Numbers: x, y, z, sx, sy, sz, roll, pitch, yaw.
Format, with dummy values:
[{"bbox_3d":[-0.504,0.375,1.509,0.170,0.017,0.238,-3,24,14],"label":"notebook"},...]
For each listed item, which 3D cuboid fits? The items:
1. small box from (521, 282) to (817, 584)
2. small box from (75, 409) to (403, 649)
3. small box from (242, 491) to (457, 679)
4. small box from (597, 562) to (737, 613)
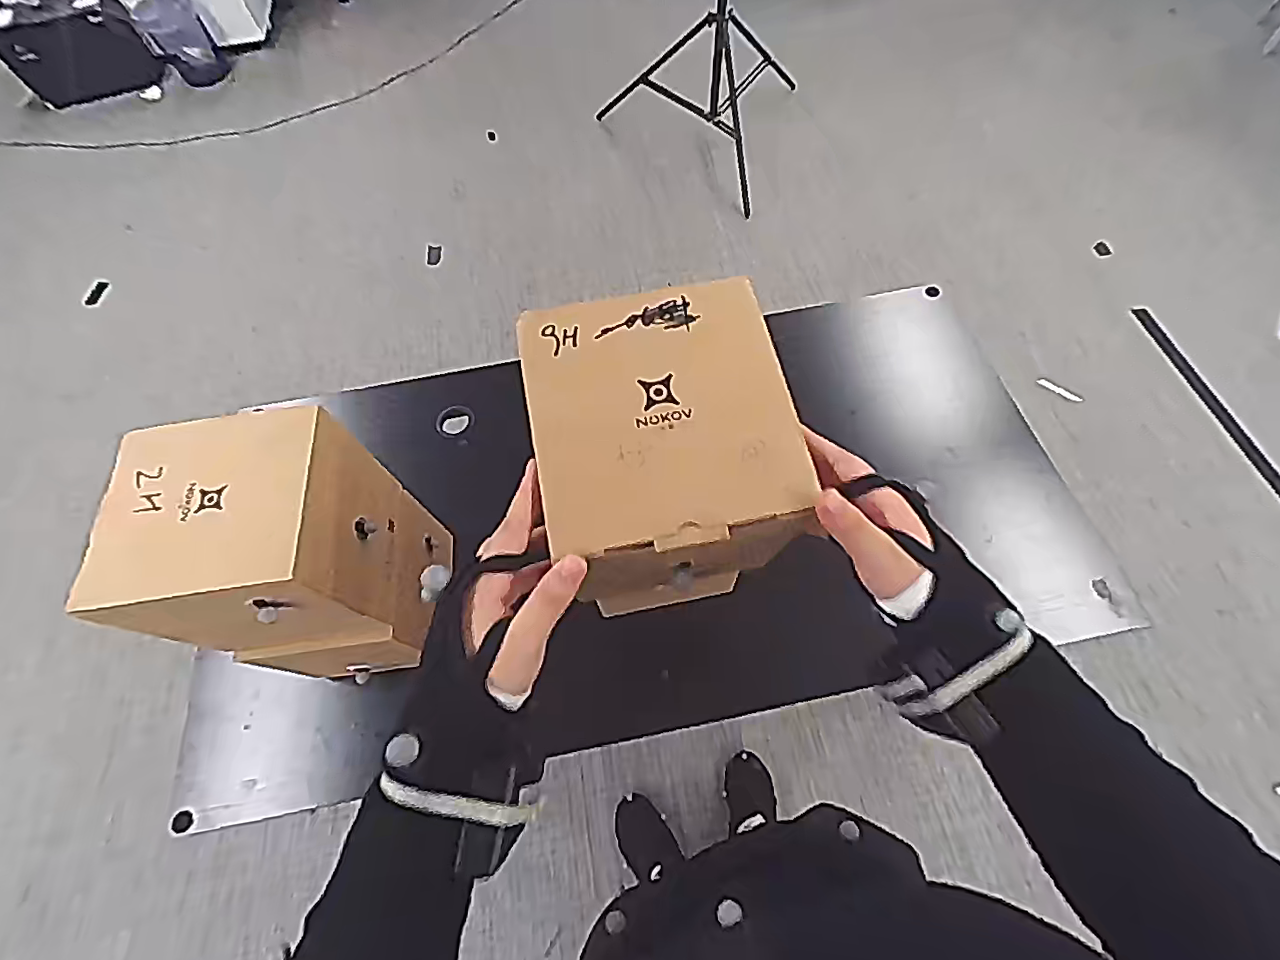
[{"bbox_3d":[0.015,-0.020,0.424,0.168,0.176,0.179,-11,73,-3],"label":"small box"},{"bbox_3d":[-0.347,0.056,0.515,0.179,0.176,0.168,-9,63,0],"label":"small box"},{"bbox_3d":[-0.333,0.134,0.661,0.168,0.176,0.179,-9,64,-1],"label":"small box"},{"bbox_3d":[0.021,0.057,0.678,0.179,0.176,0.168,-11,64,-3],"label":"small box"}]
